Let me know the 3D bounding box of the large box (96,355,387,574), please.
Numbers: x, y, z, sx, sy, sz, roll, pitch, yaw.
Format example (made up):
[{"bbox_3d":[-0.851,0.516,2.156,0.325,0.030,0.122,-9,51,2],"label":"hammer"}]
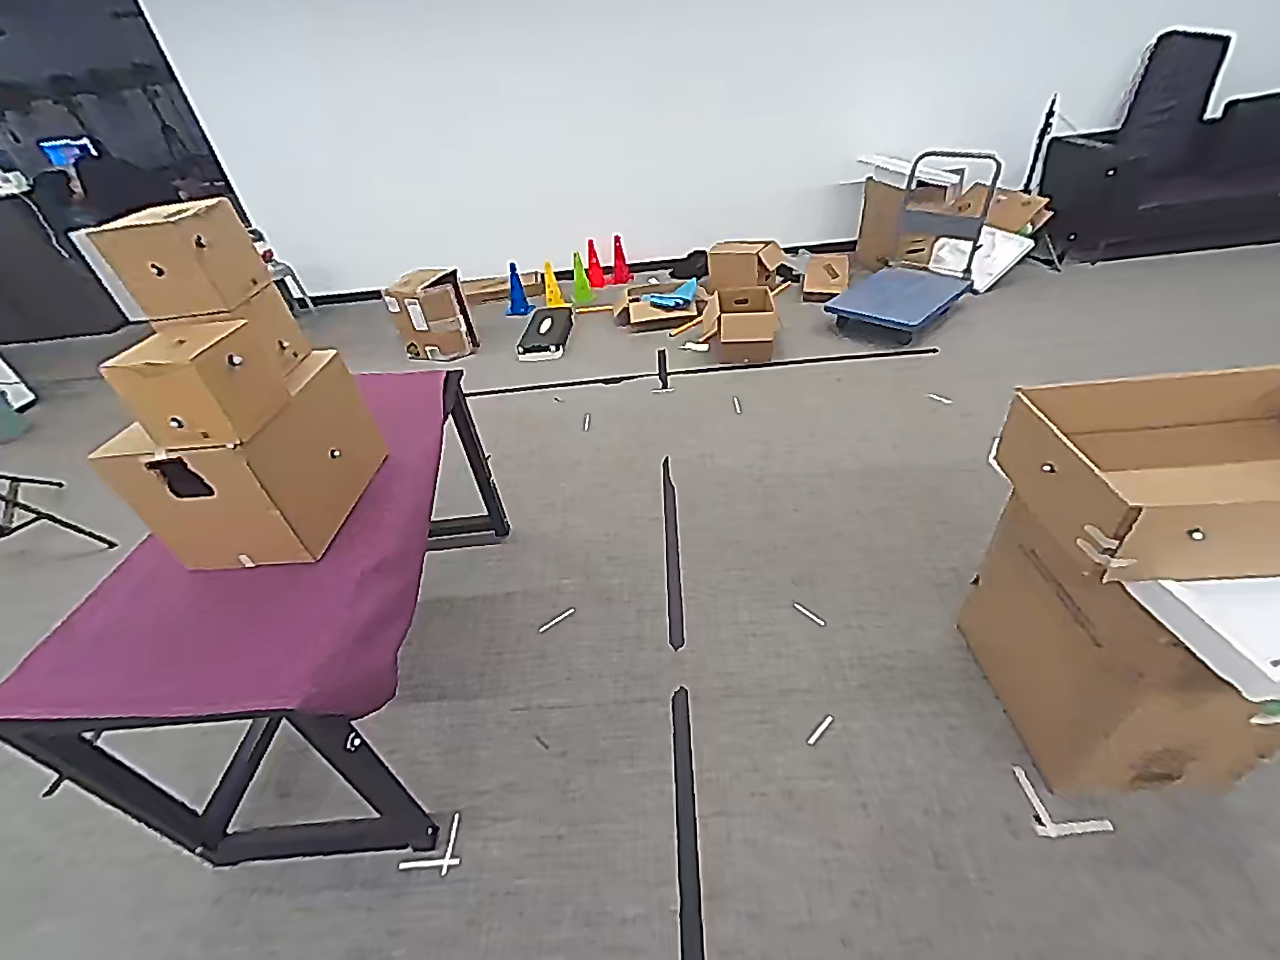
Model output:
[{"bbox_3d":[-0.845,-0.044,1.235,0.320,0.320,0.408,-6,39,5],"label":"large box"}]

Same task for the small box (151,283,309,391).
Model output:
[{"bbox_3d":[-0.870,-0.306,1.170,0.179,0.176,0.168,-5,40,4],"label":"small box"}]
